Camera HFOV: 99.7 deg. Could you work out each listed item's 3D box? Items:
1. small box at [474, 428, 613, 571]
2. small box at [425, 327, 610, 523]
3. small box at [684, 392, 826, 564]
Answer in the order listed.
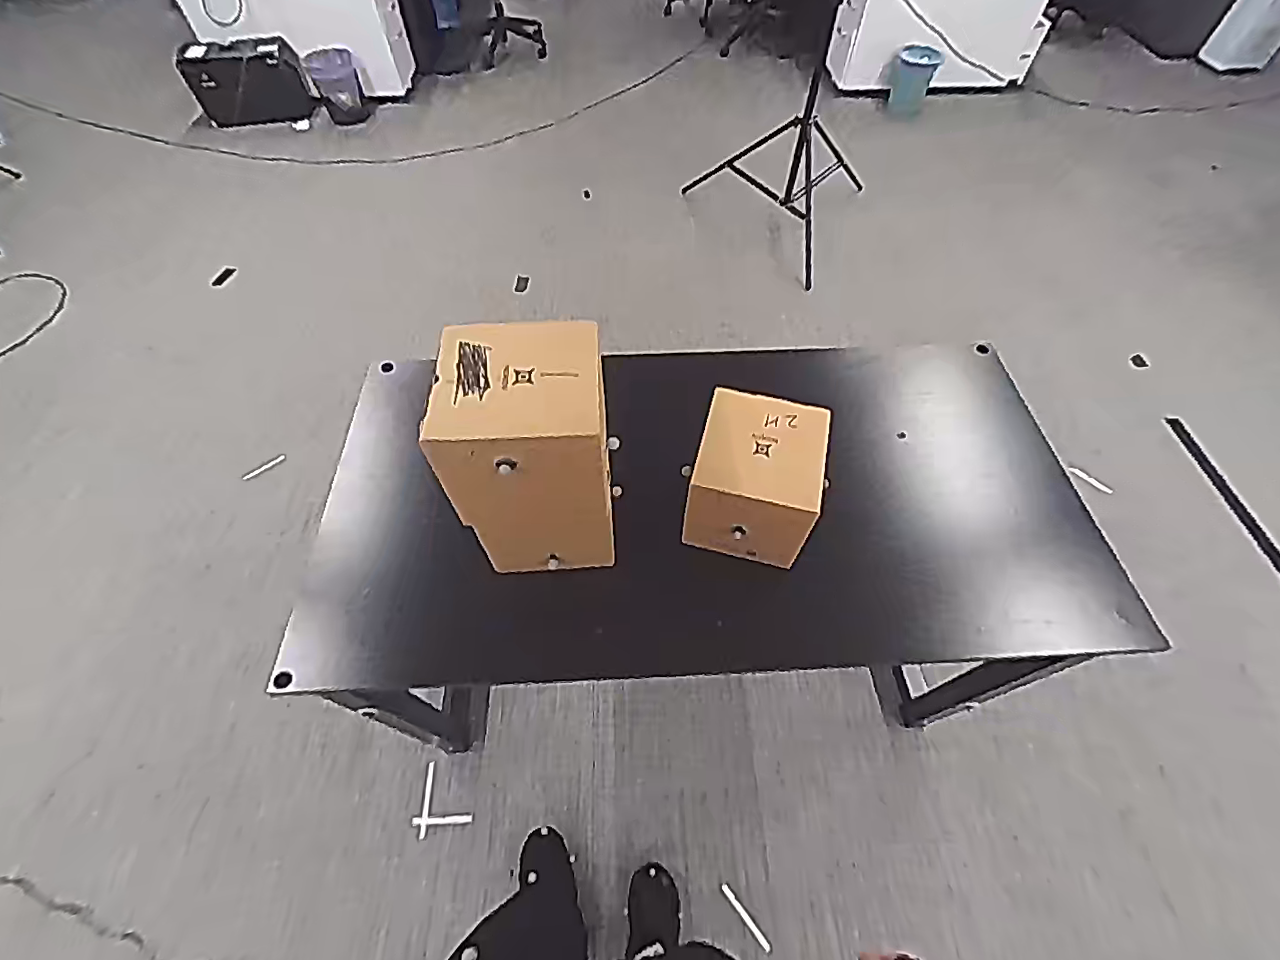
[{"bbox_3d":[-0.129,0.023,0.786,0.179,0.176,0.168,-3,56,-3],"label":"small box"},{"bbox_3d":[-0.128,-0.059,0.642,0.179,0.176,0.168,-3,57,-2],"label":"small box"},{"bbox_3d":[0.163,0.002,0.799,0.168,0.176,0.179,13,57,8],"label":"small box"}]
